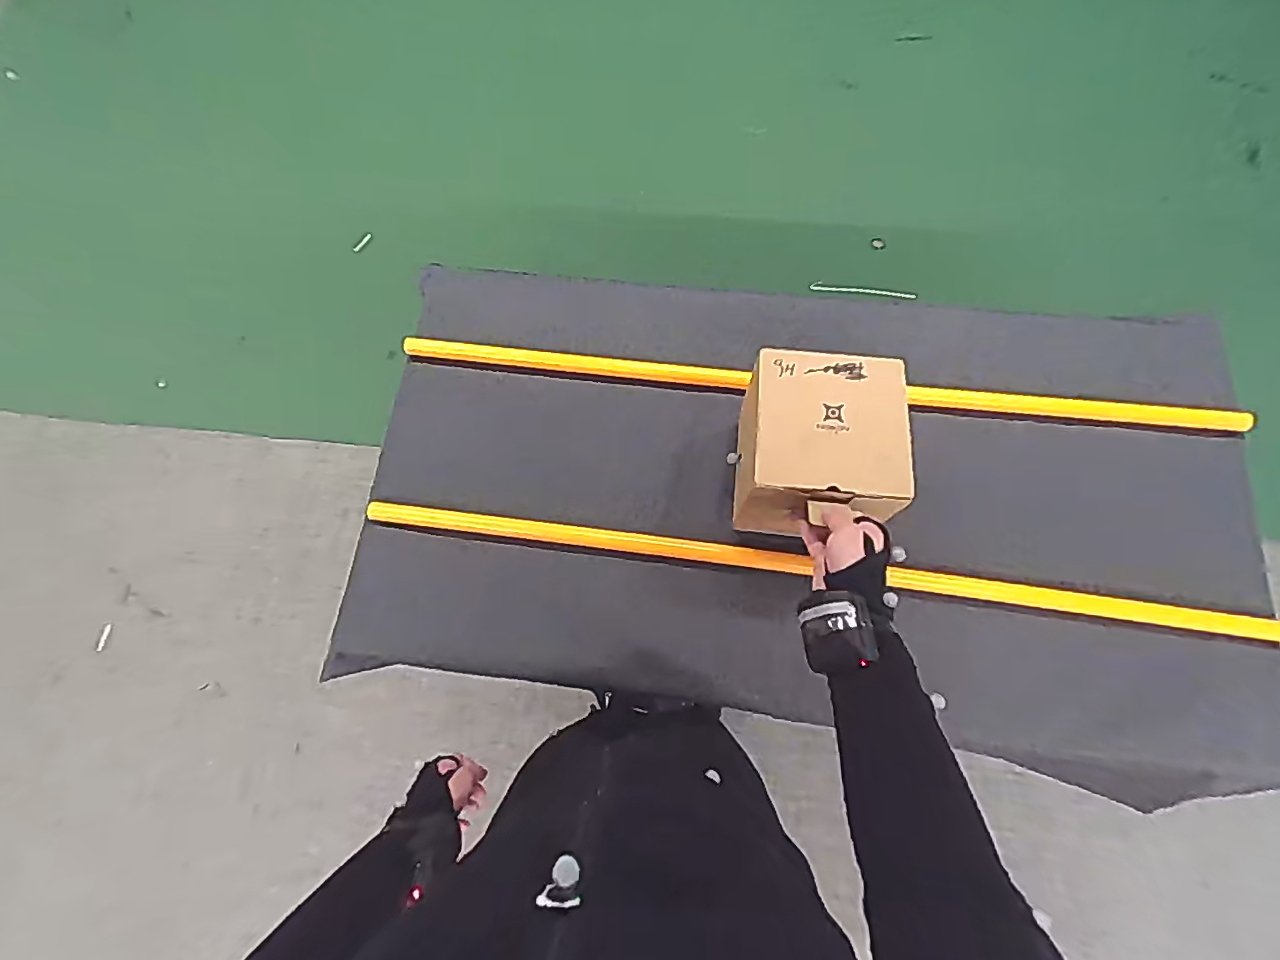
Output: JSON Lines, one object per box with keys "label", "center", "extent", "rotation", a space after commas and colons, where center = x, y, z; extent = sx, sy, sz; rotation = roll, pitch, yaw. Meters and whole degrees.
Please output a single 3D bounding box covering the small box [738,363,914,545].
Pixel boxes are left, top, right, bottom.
{"label": "small box", "center": [0.215, -0.024, 0.671], "extent": [0.168, 0.176, 0.179], "rotation": [3, 68, 4]}
